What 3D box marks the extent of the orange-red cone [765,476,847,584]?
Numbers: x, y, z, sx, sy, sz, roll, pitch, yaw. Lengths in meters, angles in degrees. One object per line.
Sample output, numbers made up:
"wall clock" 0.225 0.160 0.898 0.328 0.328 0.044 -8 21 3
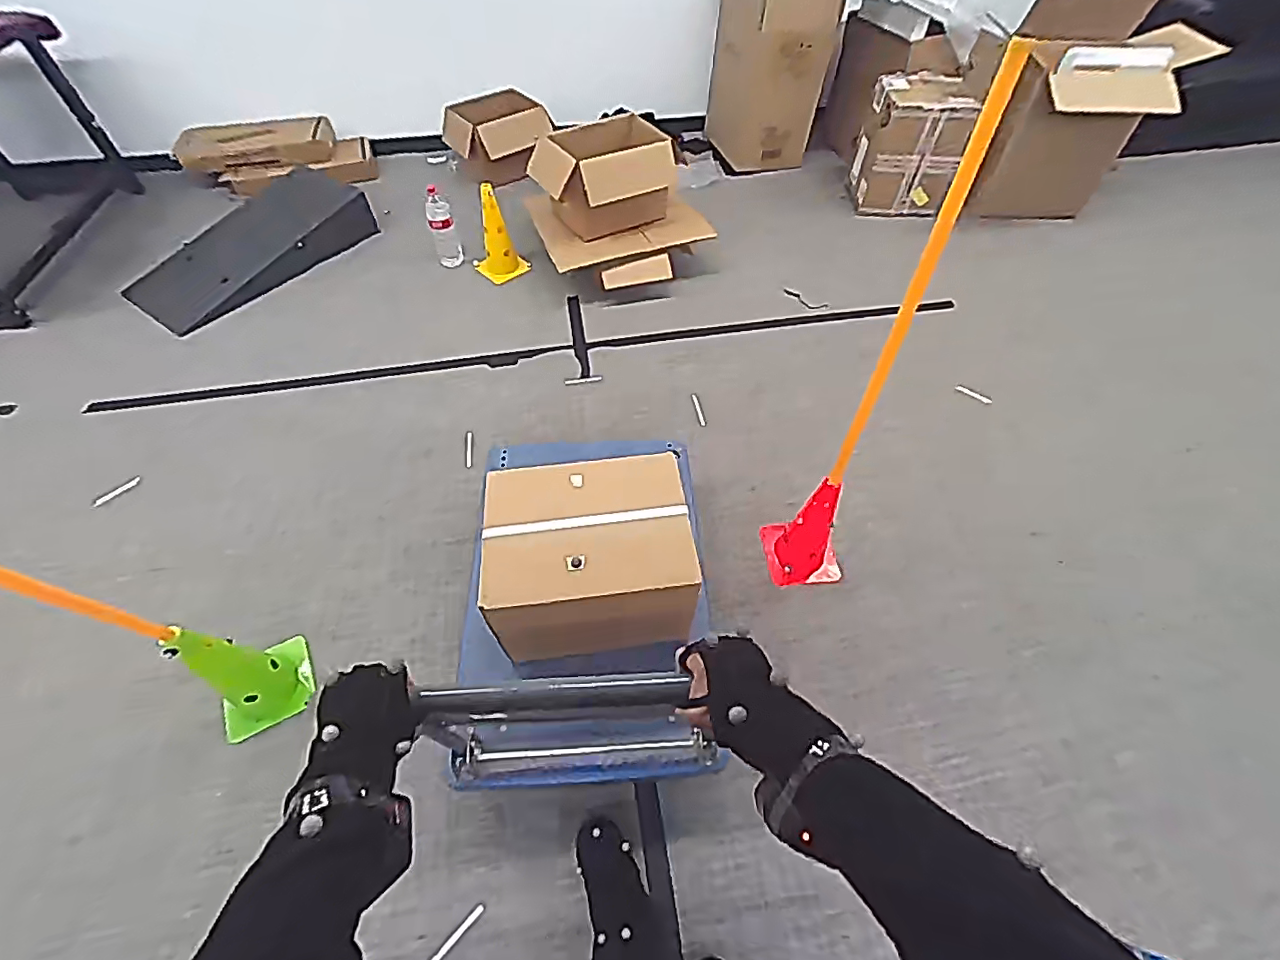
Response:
"orange-red cone" 0.474 0.107 1.426 0.199 0.360 0.198 -2 54 -3
